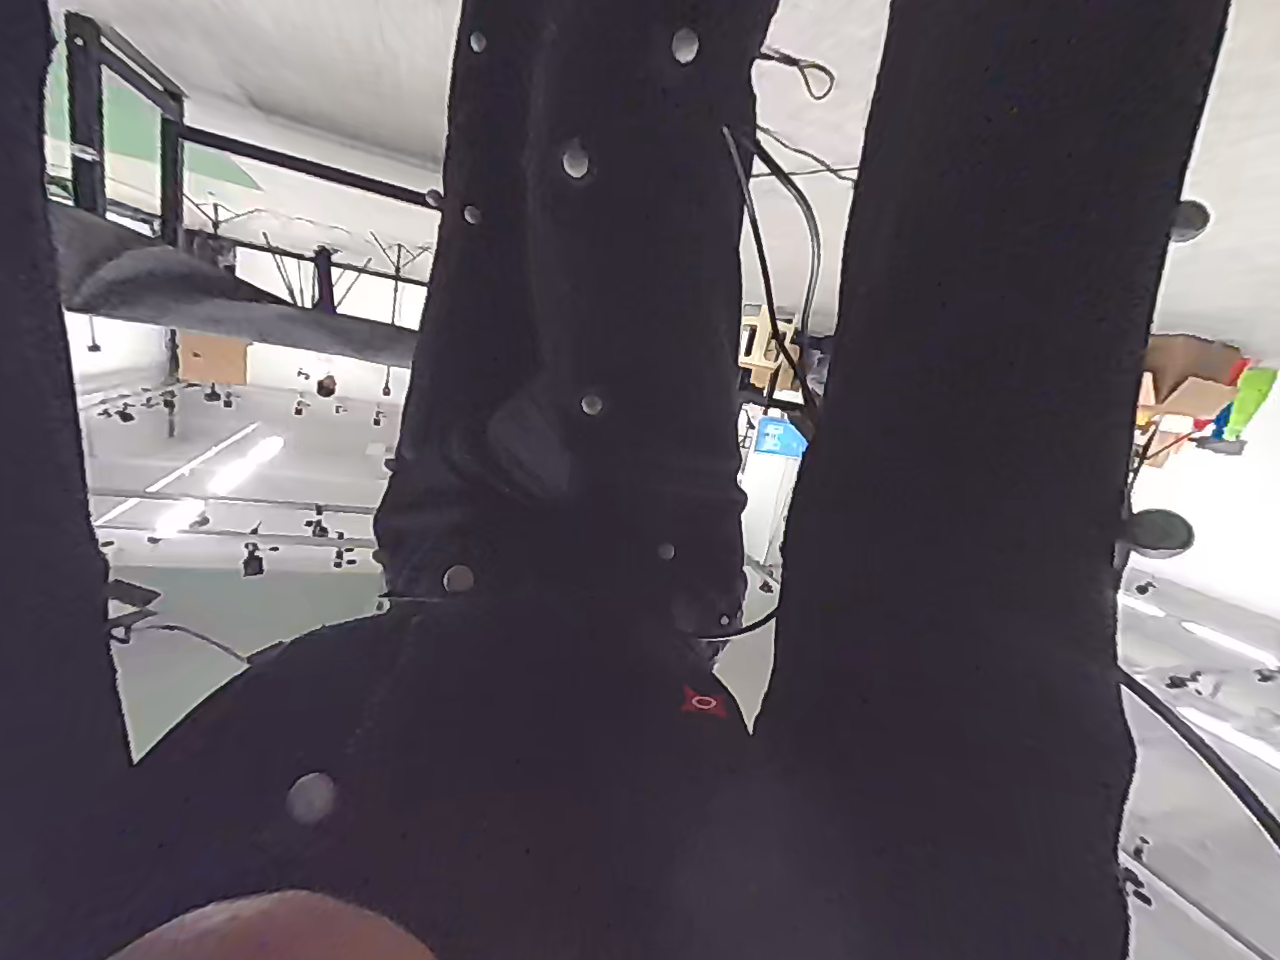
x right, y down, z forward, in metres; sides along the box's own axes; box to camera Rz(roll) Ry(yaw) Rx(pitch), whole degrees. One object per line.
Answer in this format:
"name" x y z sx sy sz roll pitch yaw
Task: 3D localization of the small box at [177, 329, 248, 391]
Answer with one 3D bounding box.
"small box" -1.409 -0.398 1.786 0.179 0.176 0.168 1 -163 -37
